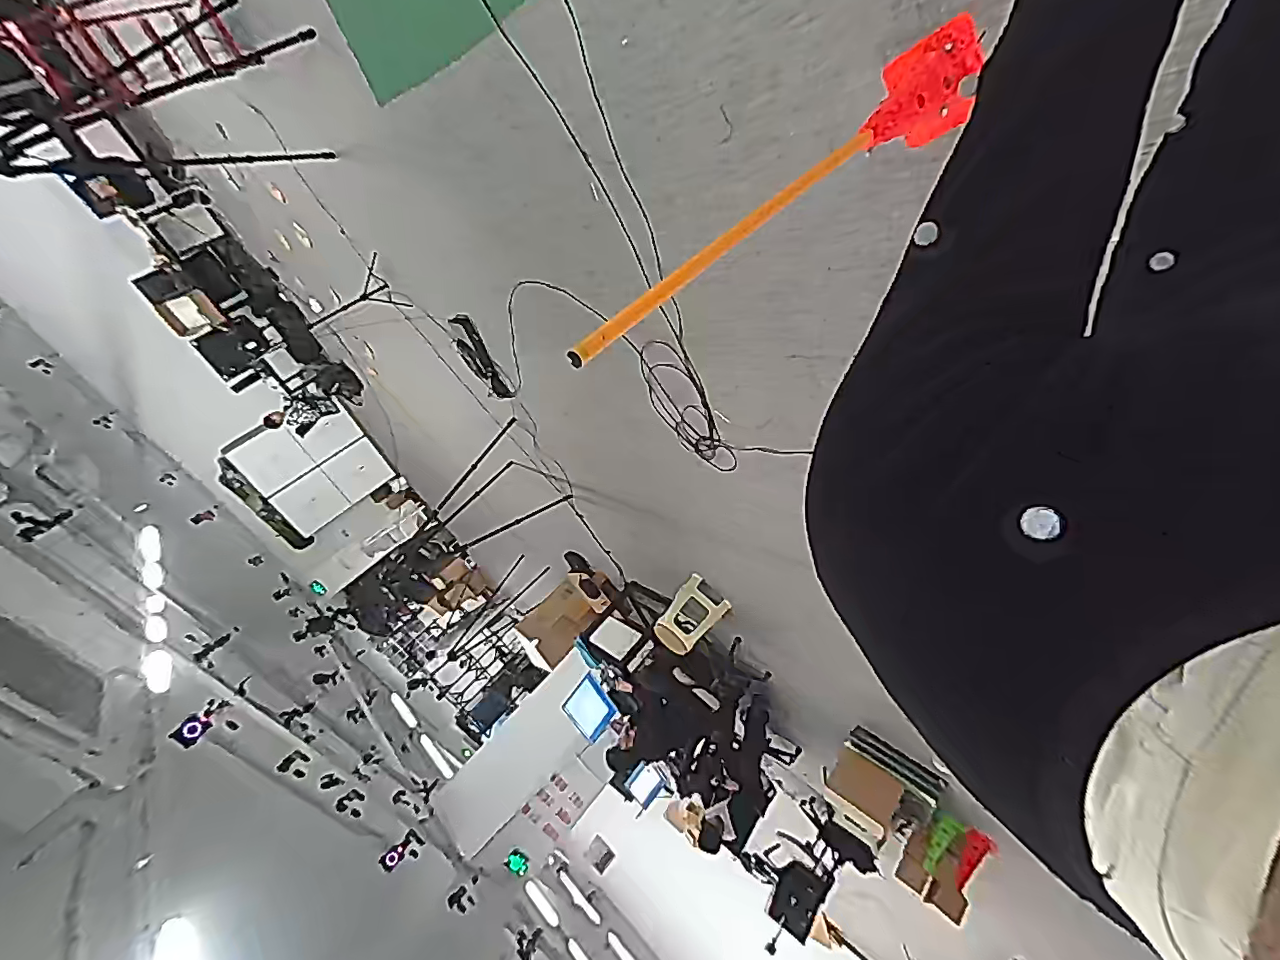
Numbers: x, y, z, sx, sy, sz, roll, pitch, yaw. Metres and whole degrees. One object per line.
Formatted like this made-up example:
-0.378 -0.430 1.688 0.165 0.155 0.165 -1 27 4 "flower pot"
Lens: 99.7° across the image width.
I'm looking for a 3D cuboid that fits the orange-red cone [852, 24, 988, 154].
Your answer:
0.560 -0.782 1.165 0.199 0.360 0.198 2 129 57 "orange-red cone"
